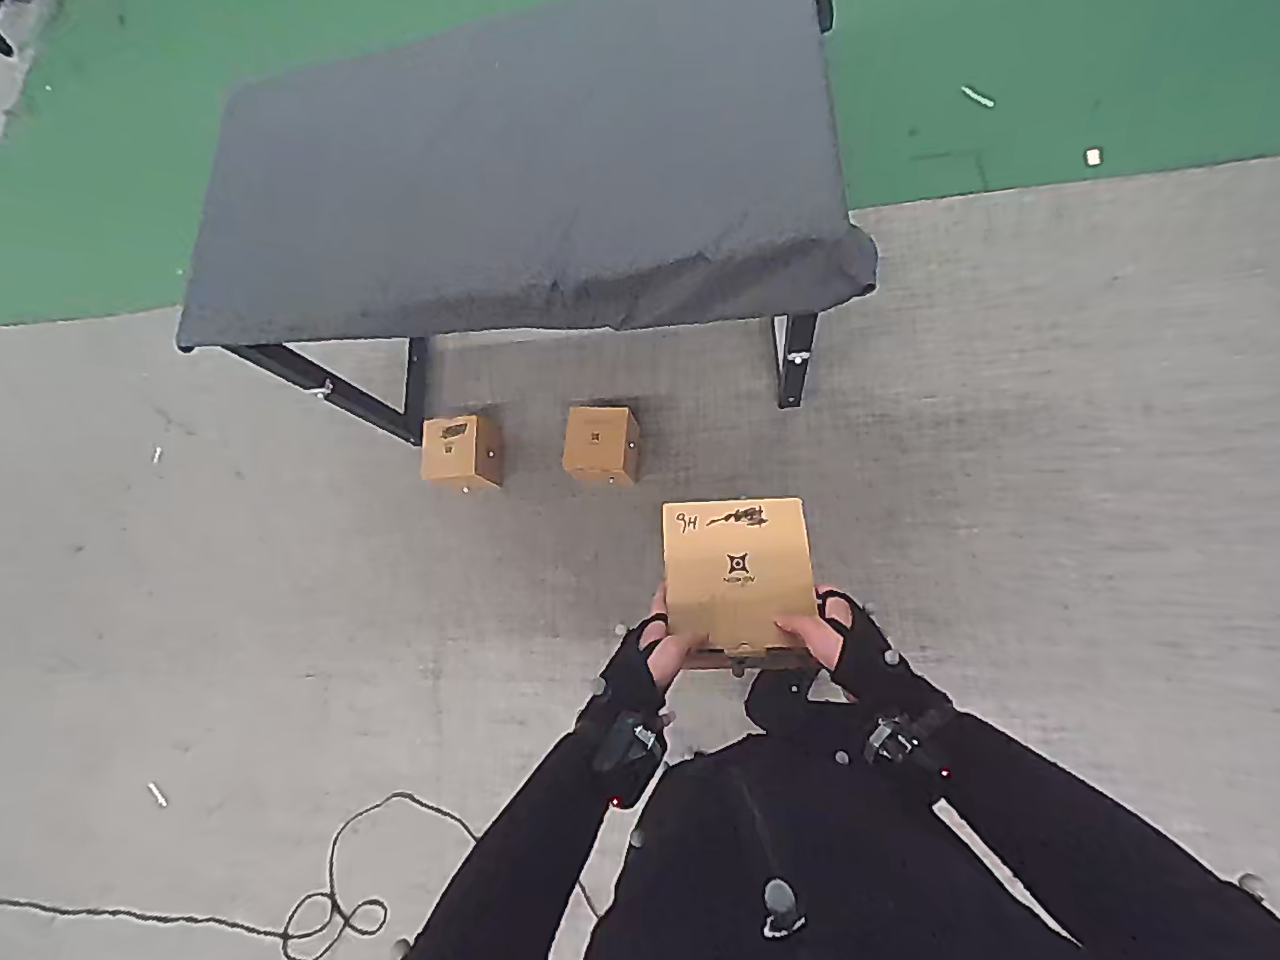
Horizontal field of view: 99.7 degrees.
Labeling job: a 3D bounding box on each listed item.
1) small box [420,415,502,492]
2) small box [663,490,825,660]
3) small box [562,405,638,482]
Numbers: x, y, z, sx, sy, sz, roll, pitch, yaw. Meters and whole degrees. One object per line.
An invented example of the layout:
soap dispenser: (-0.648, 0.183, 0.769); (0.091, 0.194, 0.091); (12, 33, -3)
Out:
small box: (-0.510, -0.072, 1.565); (0.168, 0.176, 0.179); (-5, 77, 11)
small box: (0.118, 0.126, 0.670); (0.168, 0.176, 0.179); (-4, 66, 4)
small box: (-0.104, -0.096, 1.490); (0.168, 0.176, 0.179); (1, 76, 11)
